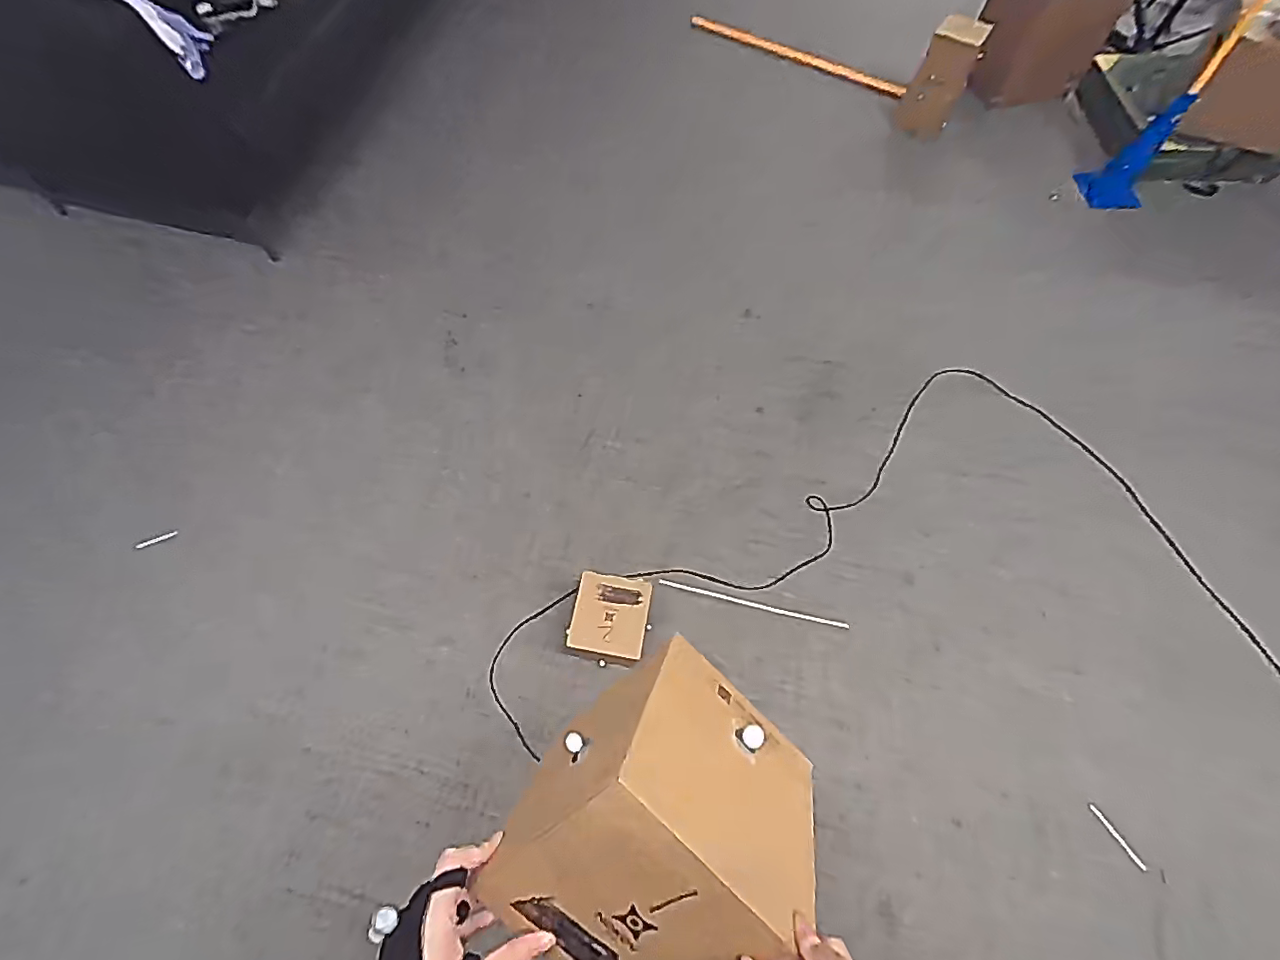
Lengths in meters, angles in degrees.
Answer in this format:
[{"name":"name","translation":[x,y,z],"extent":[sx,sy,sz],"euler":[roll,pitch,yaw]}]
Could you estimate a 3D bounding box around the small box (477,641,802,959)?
[{"name":"small box","translation":[0.013,0.270,0.436],"extent":[0.168,0.176,0.179],"euler":[43,111,1]}]
